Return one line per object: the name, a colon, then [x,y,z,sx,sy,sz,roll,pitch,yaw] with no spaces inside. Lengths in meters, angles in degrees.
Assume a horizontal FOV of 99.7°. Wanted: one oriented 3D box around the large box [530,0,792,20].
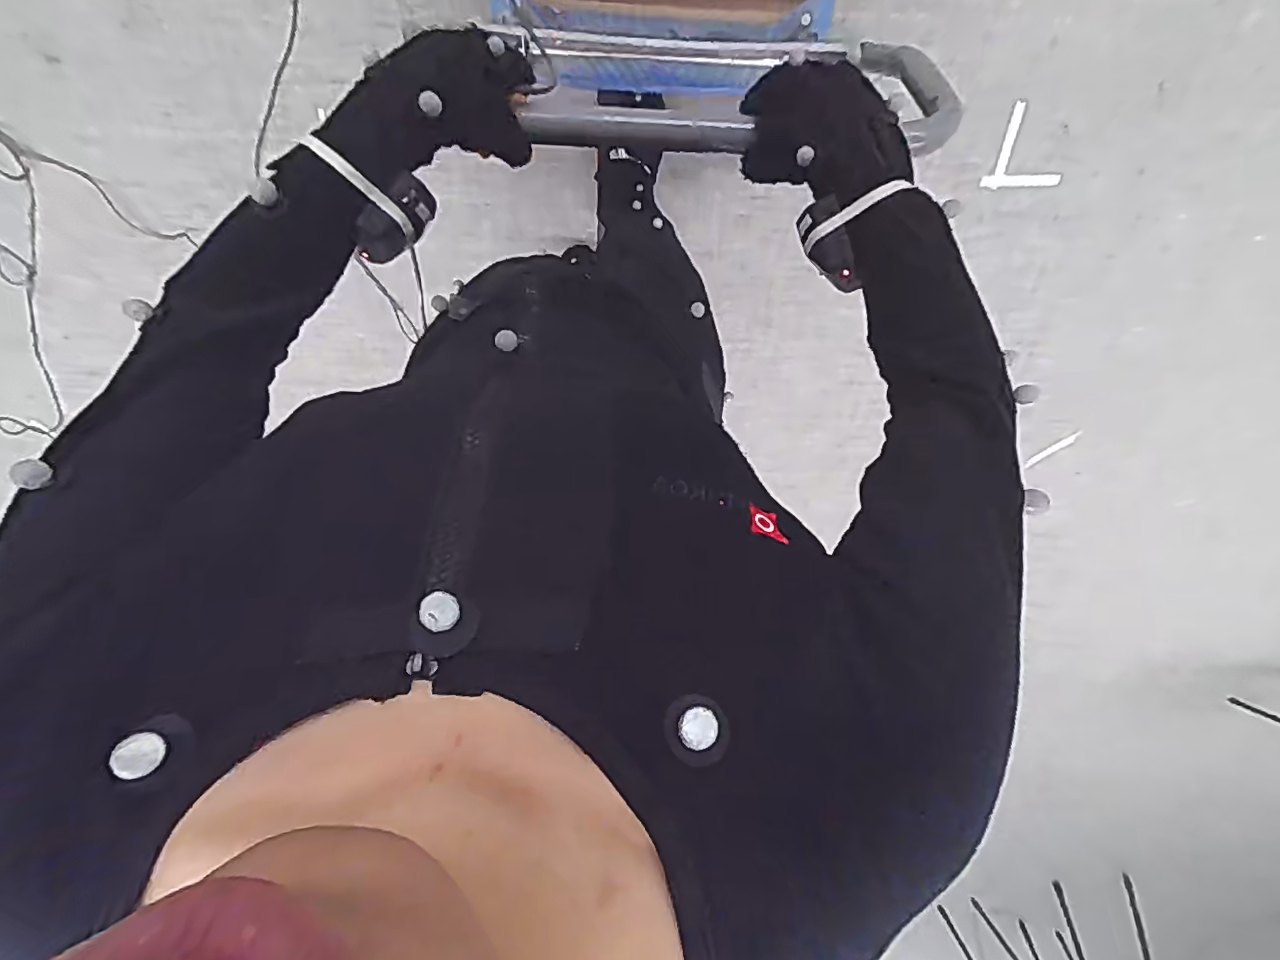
large box: [0.027,-0.834,0.715,0.408,0.320,0.320,2,126,-3]
